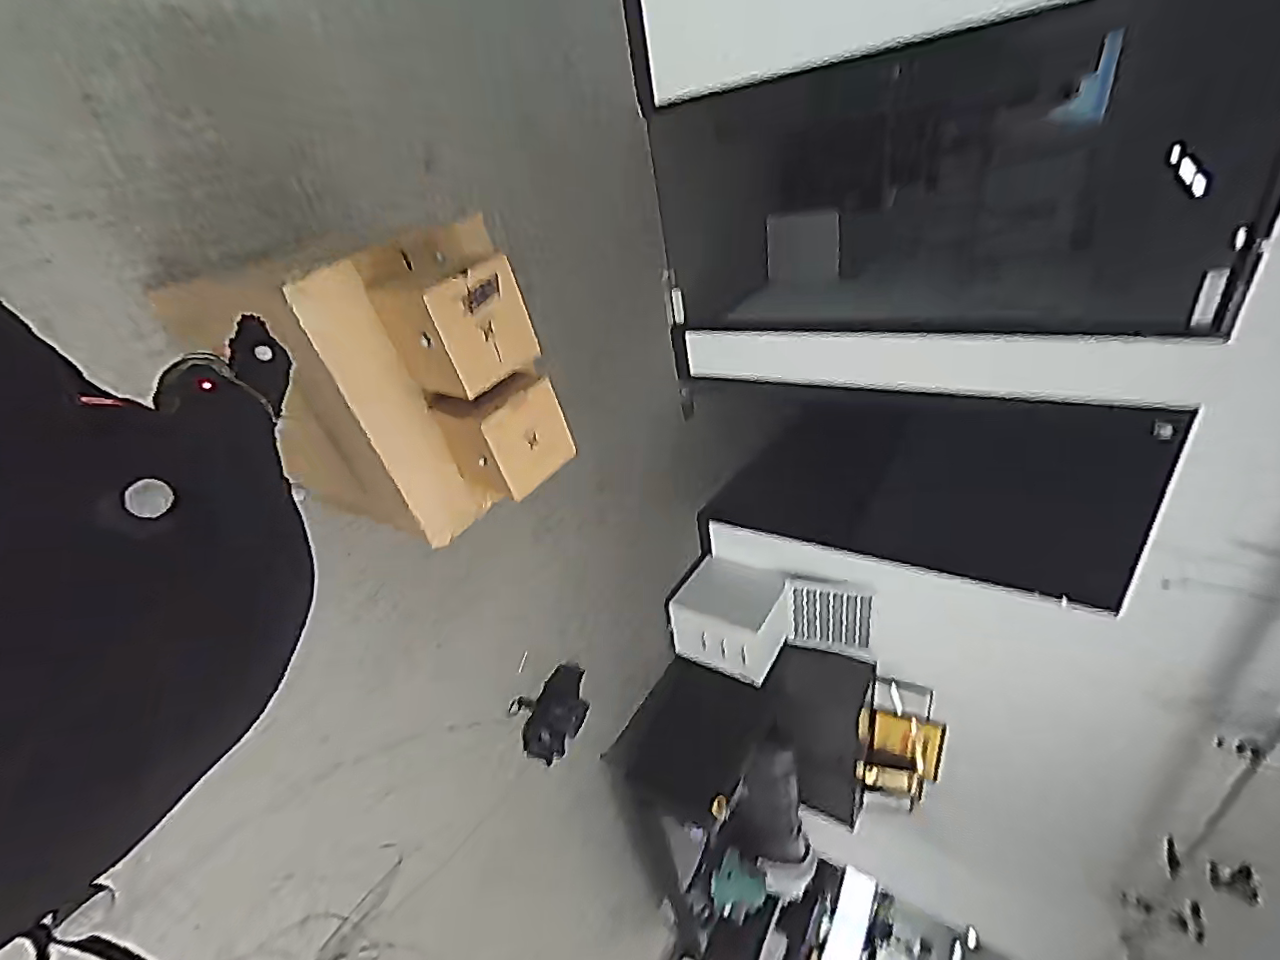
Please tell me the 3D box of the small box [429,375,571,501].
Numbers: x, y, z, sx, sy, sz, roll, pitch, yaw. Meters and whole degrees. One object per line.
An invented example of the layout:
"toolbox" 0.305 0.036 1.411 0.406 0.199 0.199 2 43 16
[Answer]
"small box" -0.267 -0.090 1.033 0.168 0.176 0.179 -45 136 -32

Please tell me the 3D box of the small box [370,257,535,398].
"small box" -0.313 -0.259 0.909 0.168 0.176 0.179 -44 135 -34
